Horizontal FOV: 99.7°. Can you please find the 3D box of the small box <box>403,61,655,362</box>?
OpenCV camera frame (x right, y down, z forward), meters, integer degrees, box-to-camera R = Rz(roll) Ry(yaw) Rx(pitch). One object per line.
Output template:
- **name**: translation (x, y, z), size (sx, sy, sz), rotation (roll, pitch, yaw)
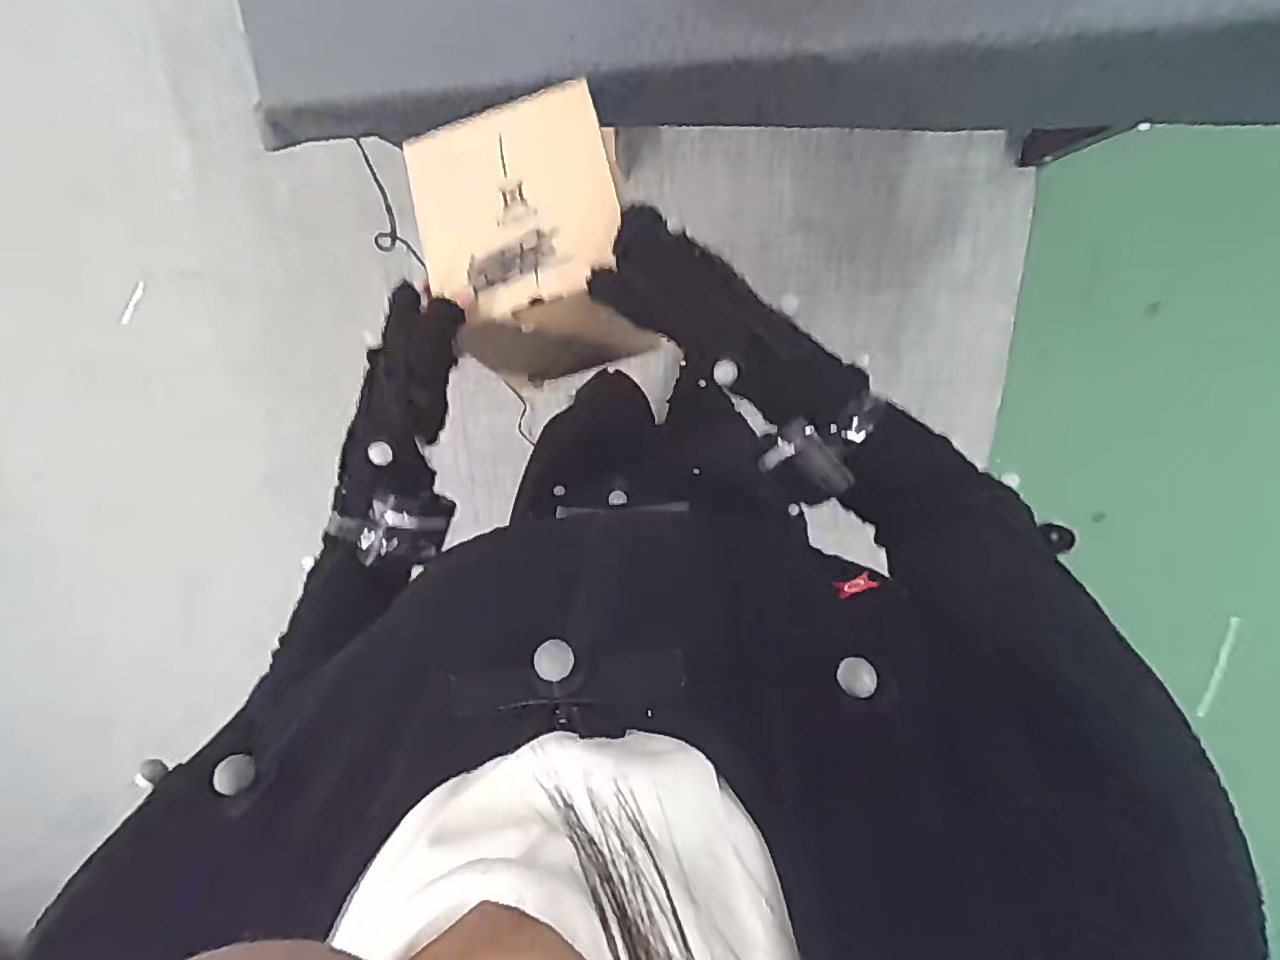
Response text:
- **small box**: translation (-0.089, -0.225, 0.508), size (0.168, 0.176, 0.179), rotation (-14, 82, 7)
